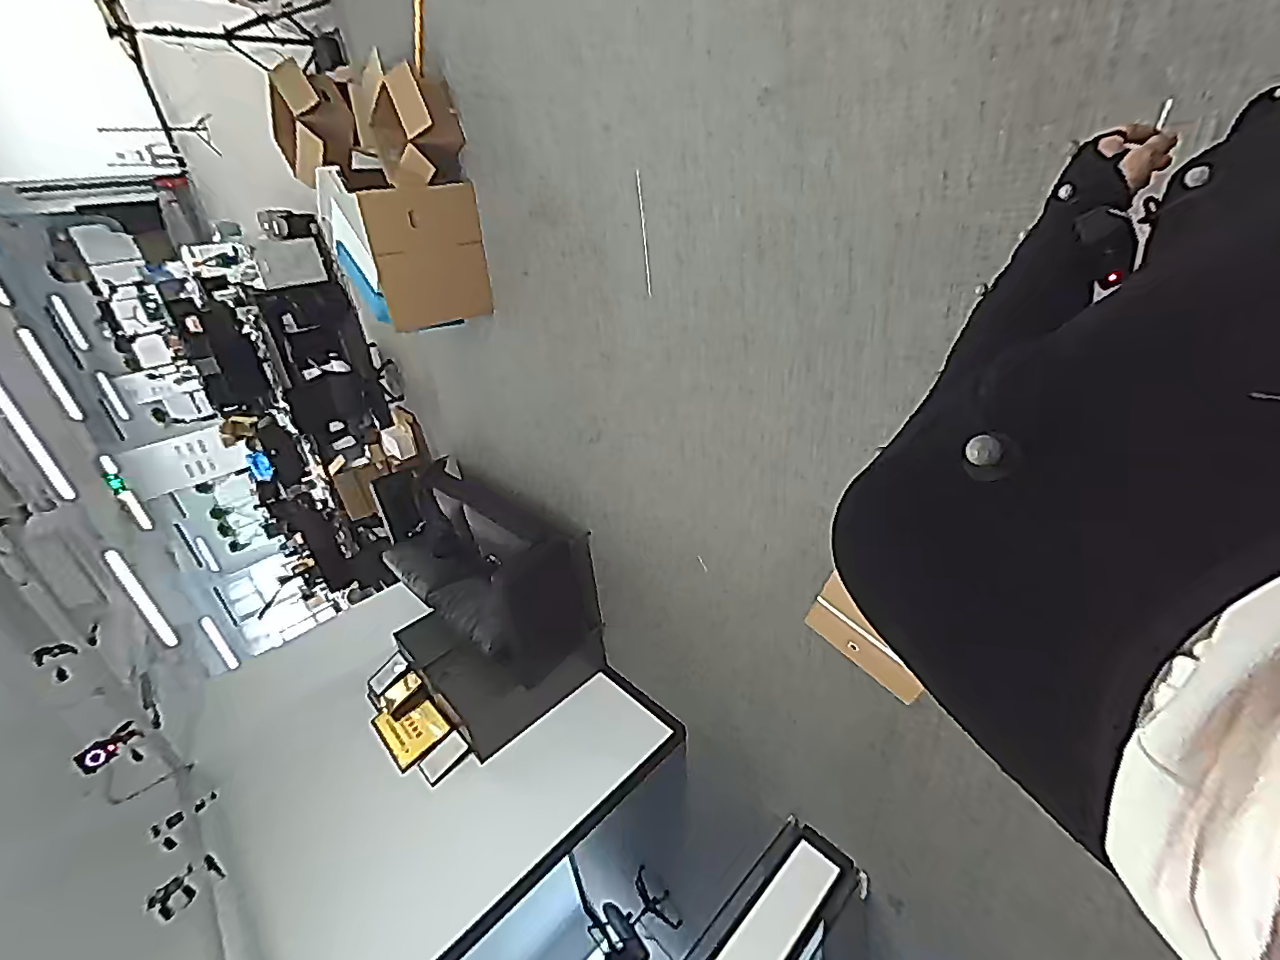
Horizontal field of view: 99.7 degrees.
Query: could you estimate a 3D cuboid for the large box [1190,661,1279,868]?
[{"bbox_3d":[1.474,0.590,1.108,0.408,0.320,0.320,-25,92,54],"label":"large box"}]
